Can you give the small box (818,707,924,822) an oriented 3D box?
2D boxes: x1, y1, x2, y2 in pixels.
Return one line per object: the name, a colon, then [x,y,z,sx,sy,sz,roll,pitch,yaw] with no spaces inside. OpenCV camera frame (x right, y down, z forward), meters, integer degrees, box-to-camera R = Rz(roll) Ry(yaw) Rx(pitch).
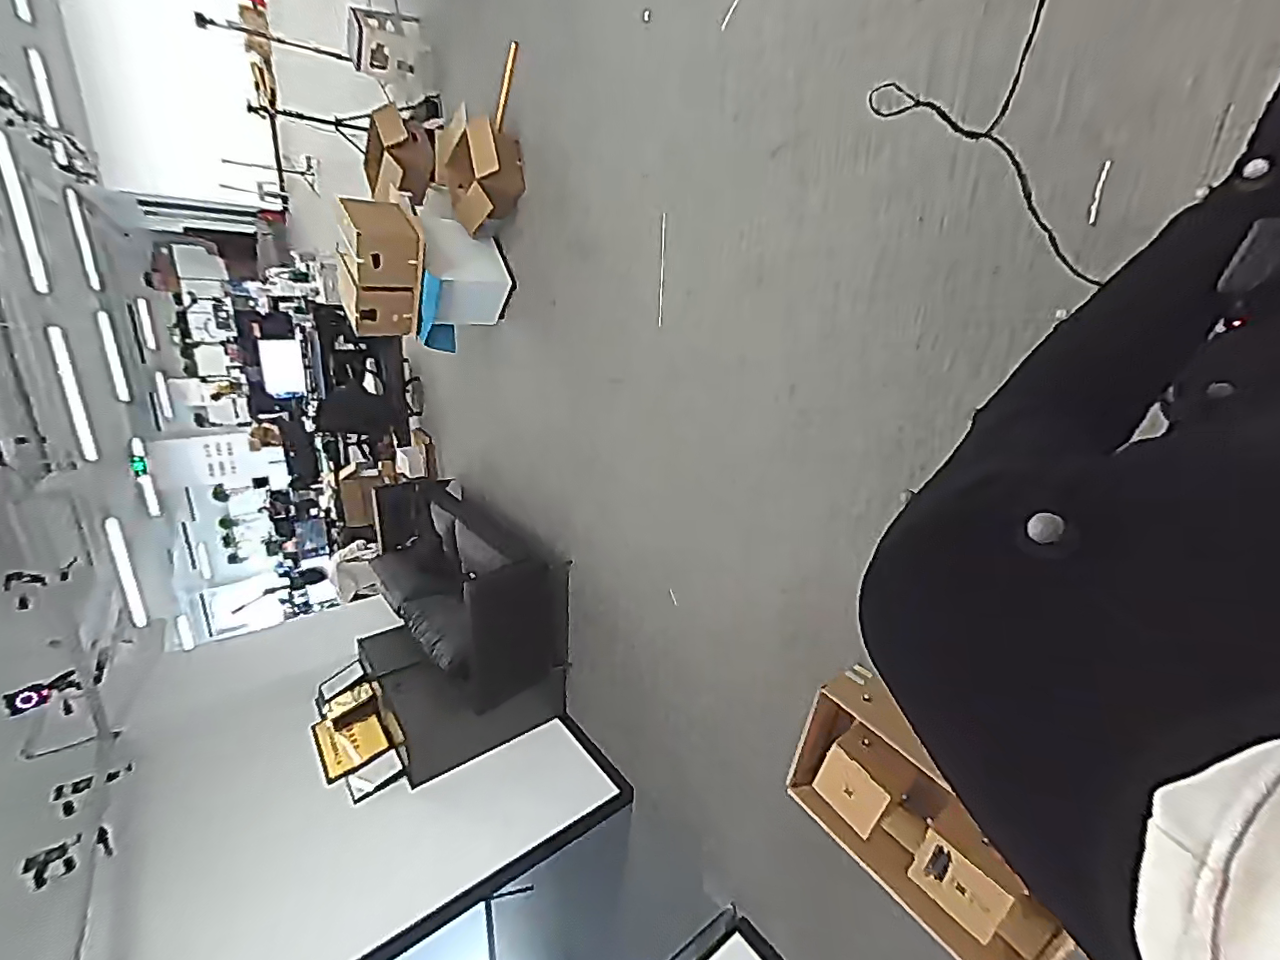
small box: [0.607,0.734,1.413,0.168,0.176,0.179,39,129,42]
